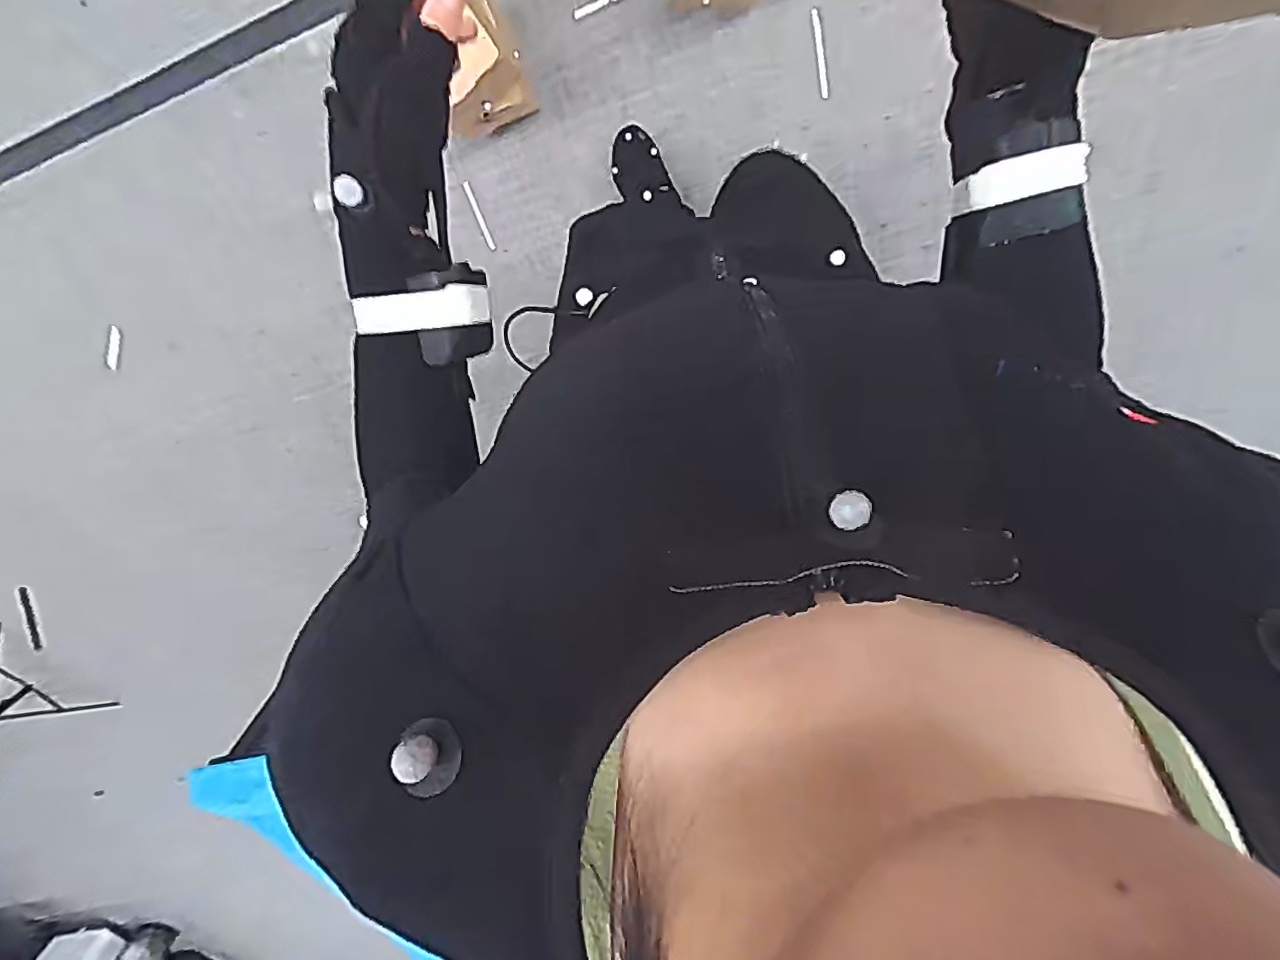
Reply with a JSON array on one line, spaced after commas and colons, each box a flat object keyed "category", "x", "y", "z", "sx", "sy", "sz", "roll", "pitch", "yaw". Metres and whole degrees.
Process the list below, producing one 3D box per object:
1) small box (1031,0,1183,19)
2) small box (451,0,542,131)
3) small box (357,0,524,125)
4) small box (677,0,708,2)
[{"category": "small box", "x": 0.195, "y": -0.295, "z": 0.187, "sx": 0.179, "sy": 0.176, "sz": 0.168, "roll": 18, "pitch": 126, "yaw": -4}, {"category": "small box", "x": -0.311, "y": -0.812, "z": 1.062, "sx": 0.168, "sy": 0.176, "sz": 0.179, "roll": -16, "pitch": 118, "yaw": 12}, {"category": "small box", "x": -0.325, "y": -0.736, "z": 0.916, "sx": 0.168, "sy": 0.176, "sz": 0.179, "roll": -28, "pitch": 118, "yaw": 19}, {"category": "small box", "x": 0.145, "y": -0.970, "z": 0.951, "sx": 0.179, "sy": 0.176, "sz": 0.168, "roll": -2, "pitch": 120, "yaw": 2}]
